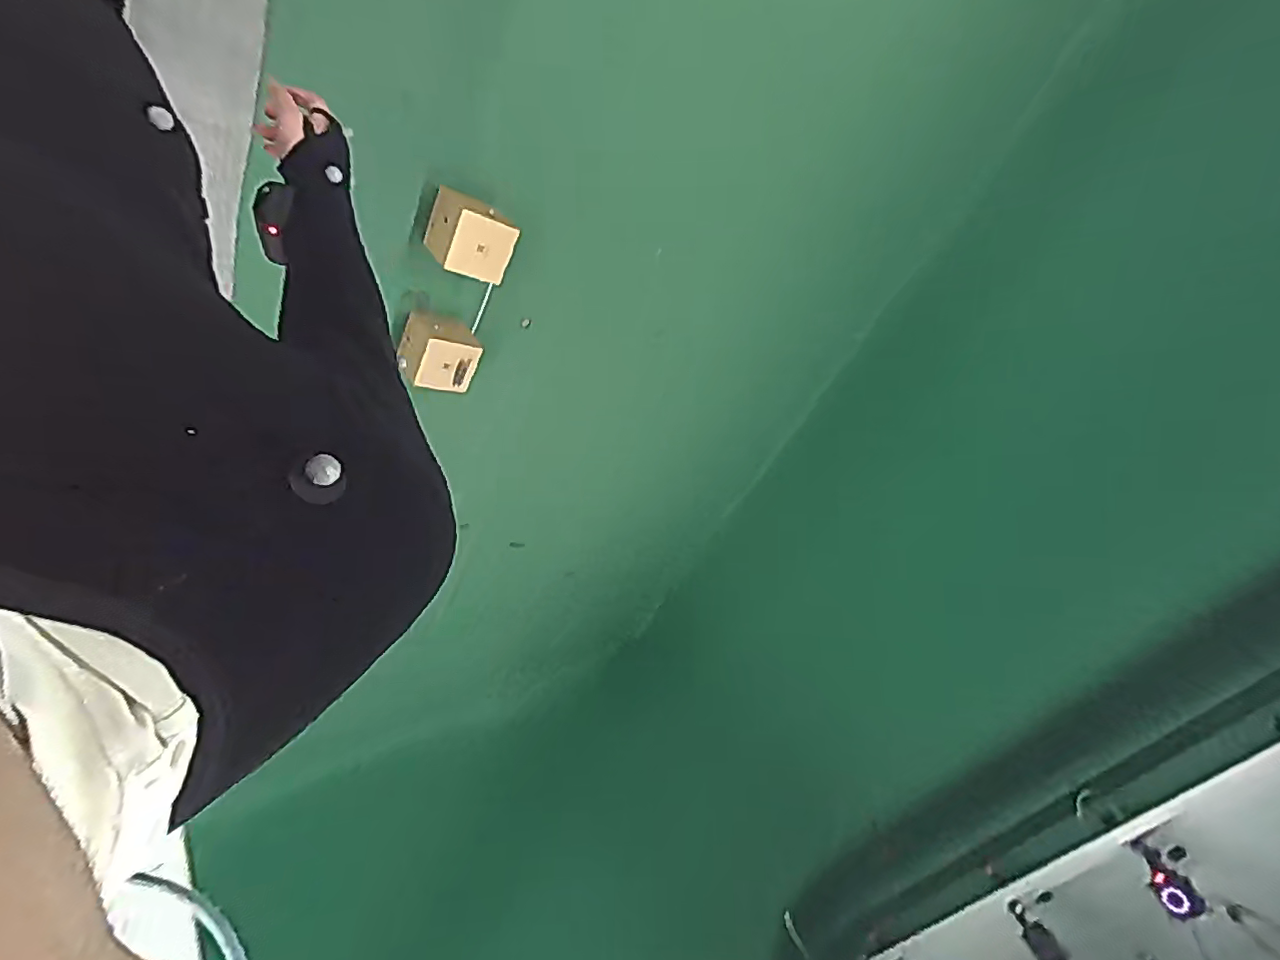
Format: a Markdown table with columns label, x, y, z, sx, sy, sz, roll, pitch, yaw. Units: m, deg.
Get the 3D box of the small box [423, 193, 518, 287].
| label | x | y | z | sx | sy | sz | roll | pitch | yaw |
| --- | --- | --- | --- | --- | --- | --- | --- | --- | --- |
| small box | -0.478 | -0.671 | 1.506 | 0.179 | 0.176 | 0.168 | -1 | 131 | -47 |
